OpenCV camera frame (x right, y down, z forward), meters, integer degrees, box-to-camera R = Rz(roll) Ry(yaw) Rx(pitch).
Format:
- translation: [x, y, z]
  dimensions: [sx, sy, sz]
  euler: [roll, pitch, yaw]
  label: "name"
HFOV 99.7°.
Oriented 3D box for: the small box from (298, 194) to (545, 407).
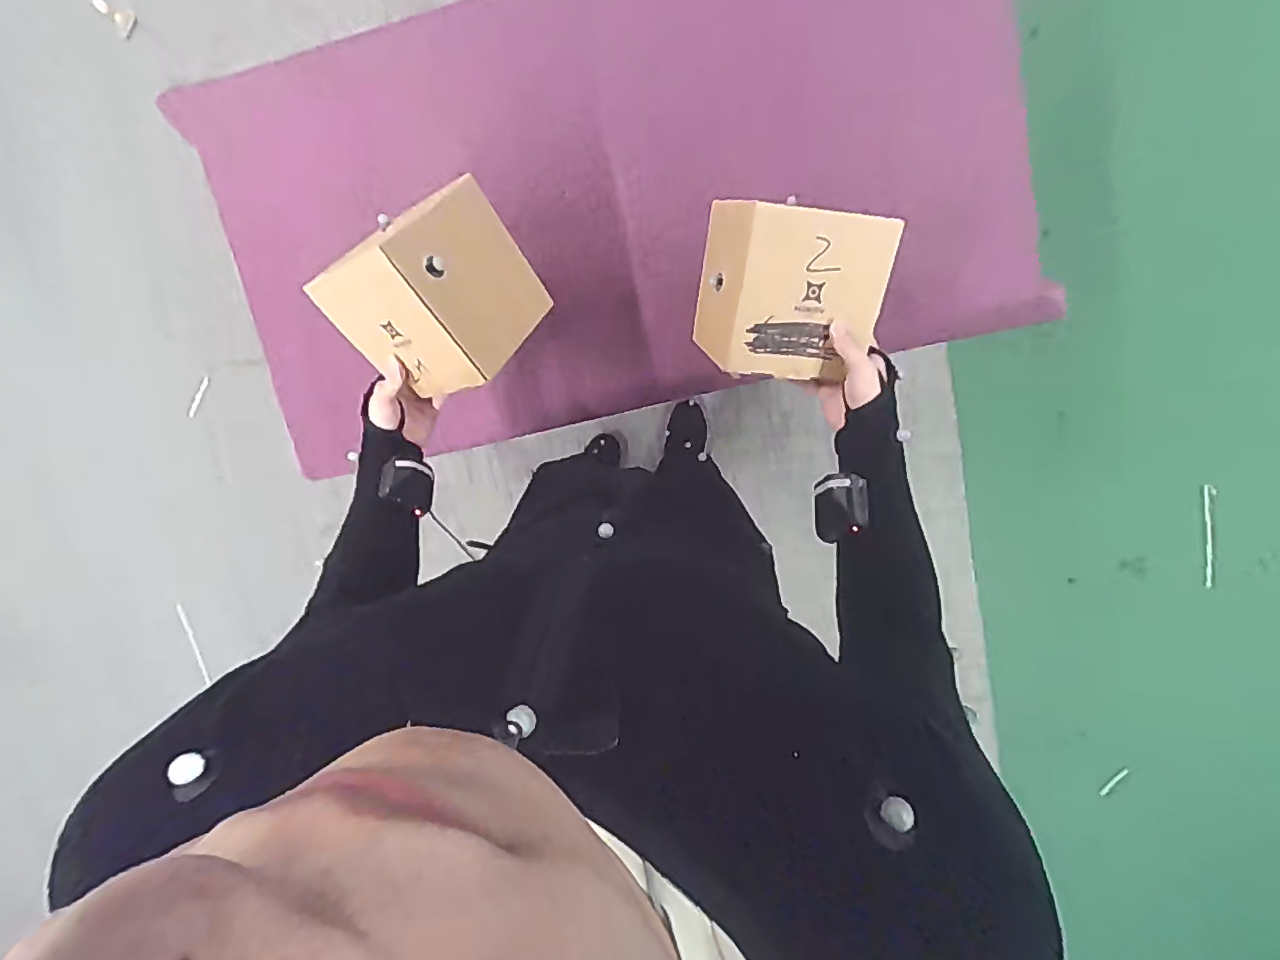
- translation: [-0.250, -0.216, 0.653]
  dimensions: [0.168, 0.176, 0.179]
  euler: [-3, 136, 35]
  label: "small box"
